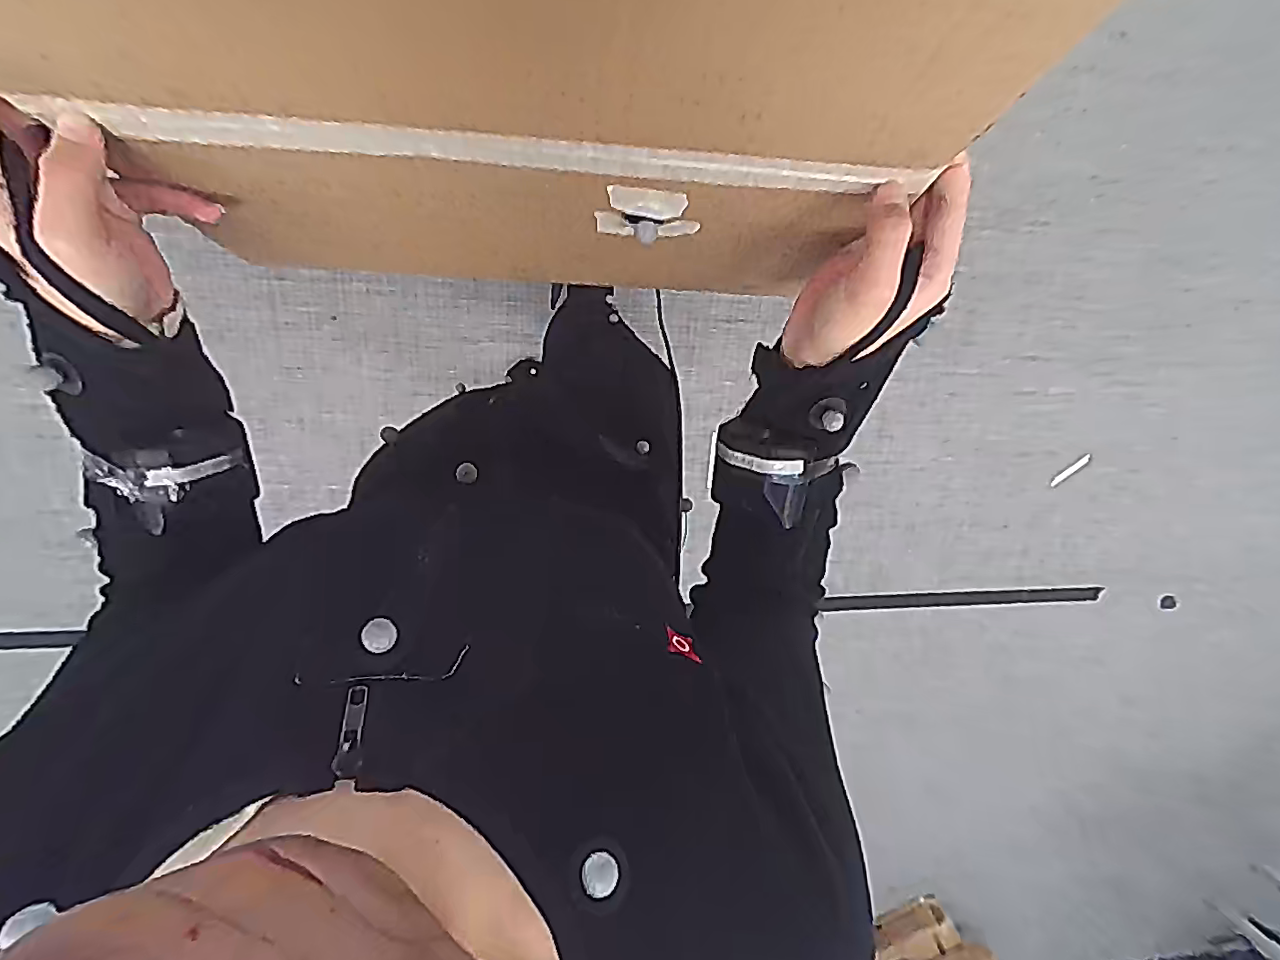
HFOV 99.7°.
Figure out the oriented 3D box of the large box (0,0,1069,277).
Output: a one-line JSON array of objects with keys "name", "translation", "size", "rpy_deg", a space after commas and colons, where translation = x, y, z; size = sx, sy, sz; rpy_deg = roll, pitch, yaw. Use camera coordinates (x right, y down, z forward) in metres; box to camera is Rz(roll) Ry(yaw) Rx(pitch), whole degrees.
[{"name": "large box", "translation": [-0.059, -0.313, 0.253], "size": [0.408, 0.320, 0.320], "rpy_deg": [1, 89, -5]}]
